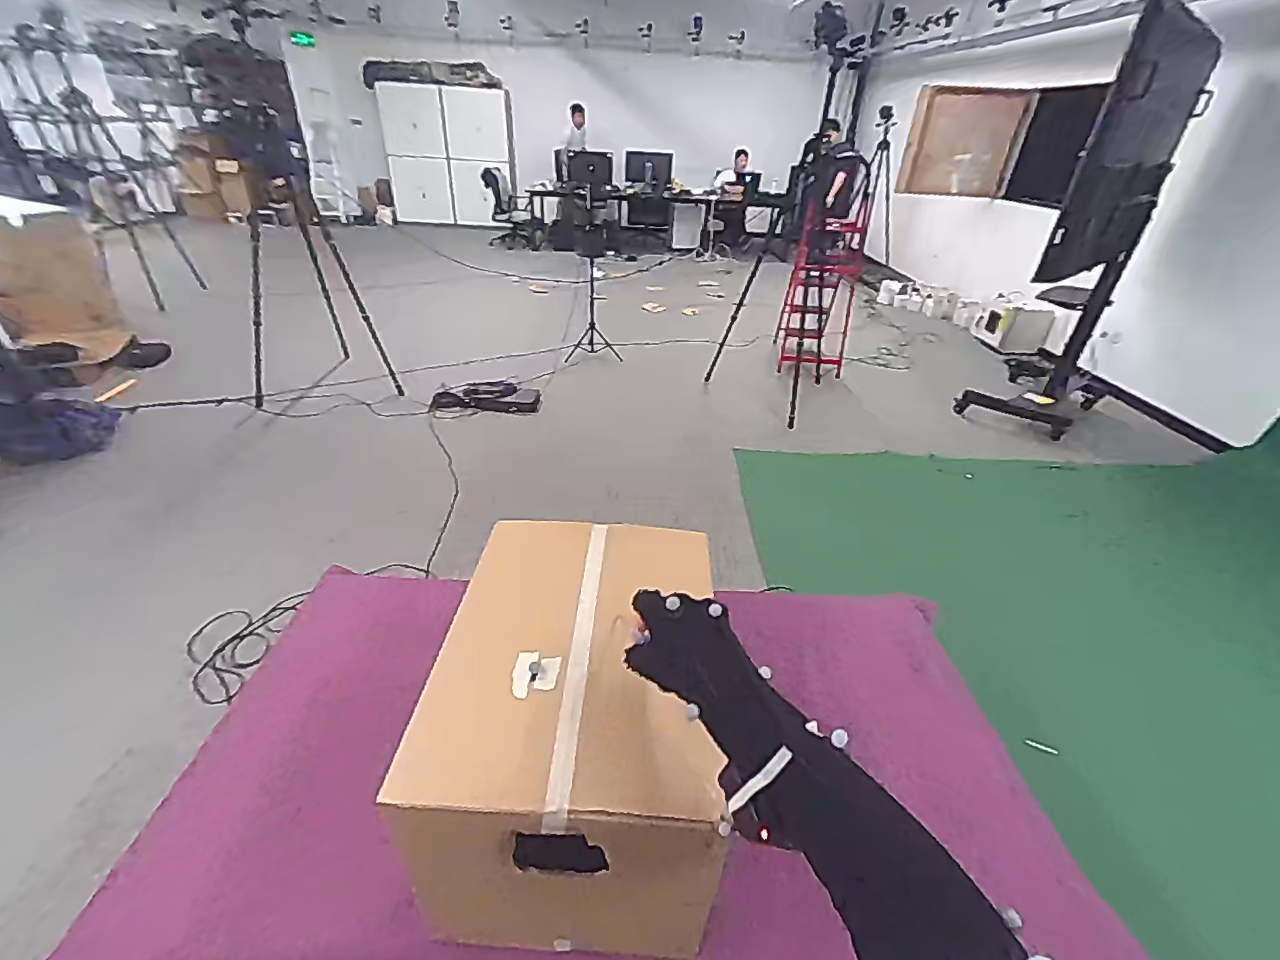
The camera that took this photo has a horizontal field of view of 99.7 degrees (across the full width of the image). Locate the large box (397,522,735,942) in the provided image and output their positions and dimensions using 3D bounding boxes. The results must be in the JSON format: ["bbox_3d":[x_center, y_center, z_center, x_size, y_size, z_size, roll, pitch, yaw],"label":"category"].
[{"bbox_3d":[-0.072,0.307,0.726,0.320,0.320,0.408,4,34,0],"label":"large box"}]
